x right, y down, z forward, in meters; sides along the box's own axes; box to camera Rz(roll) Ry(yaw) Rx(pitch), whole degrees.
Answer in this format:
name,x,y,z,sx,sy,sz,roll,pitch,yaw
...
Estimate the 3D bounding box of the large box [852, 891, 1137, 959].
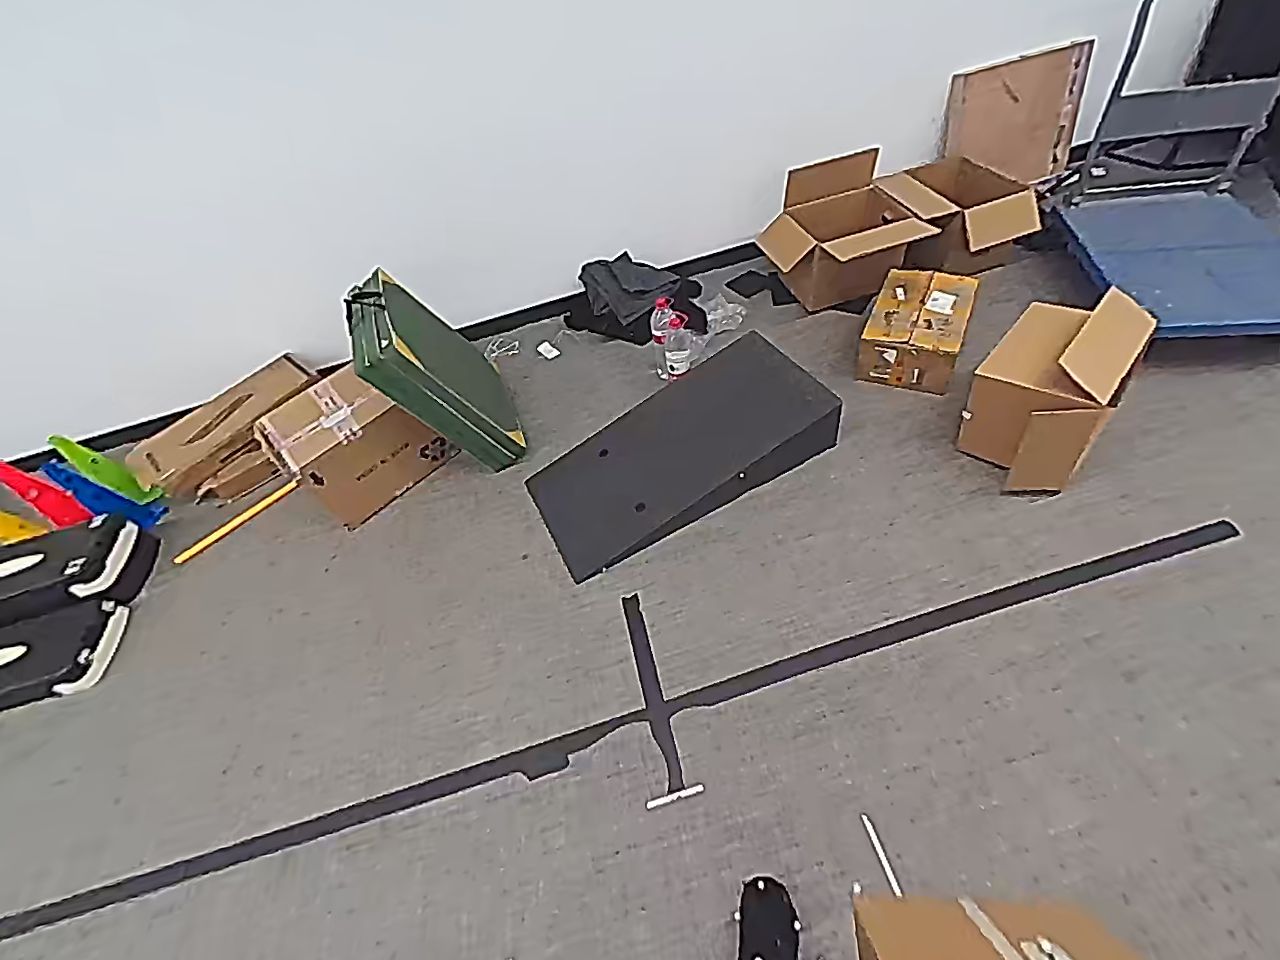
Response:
name,x,y,z,sx,sy,sz,roll,pitch,yaw
large box,0.455,0.726,0.580,0.320,0.408,0.320,-2,78,7
